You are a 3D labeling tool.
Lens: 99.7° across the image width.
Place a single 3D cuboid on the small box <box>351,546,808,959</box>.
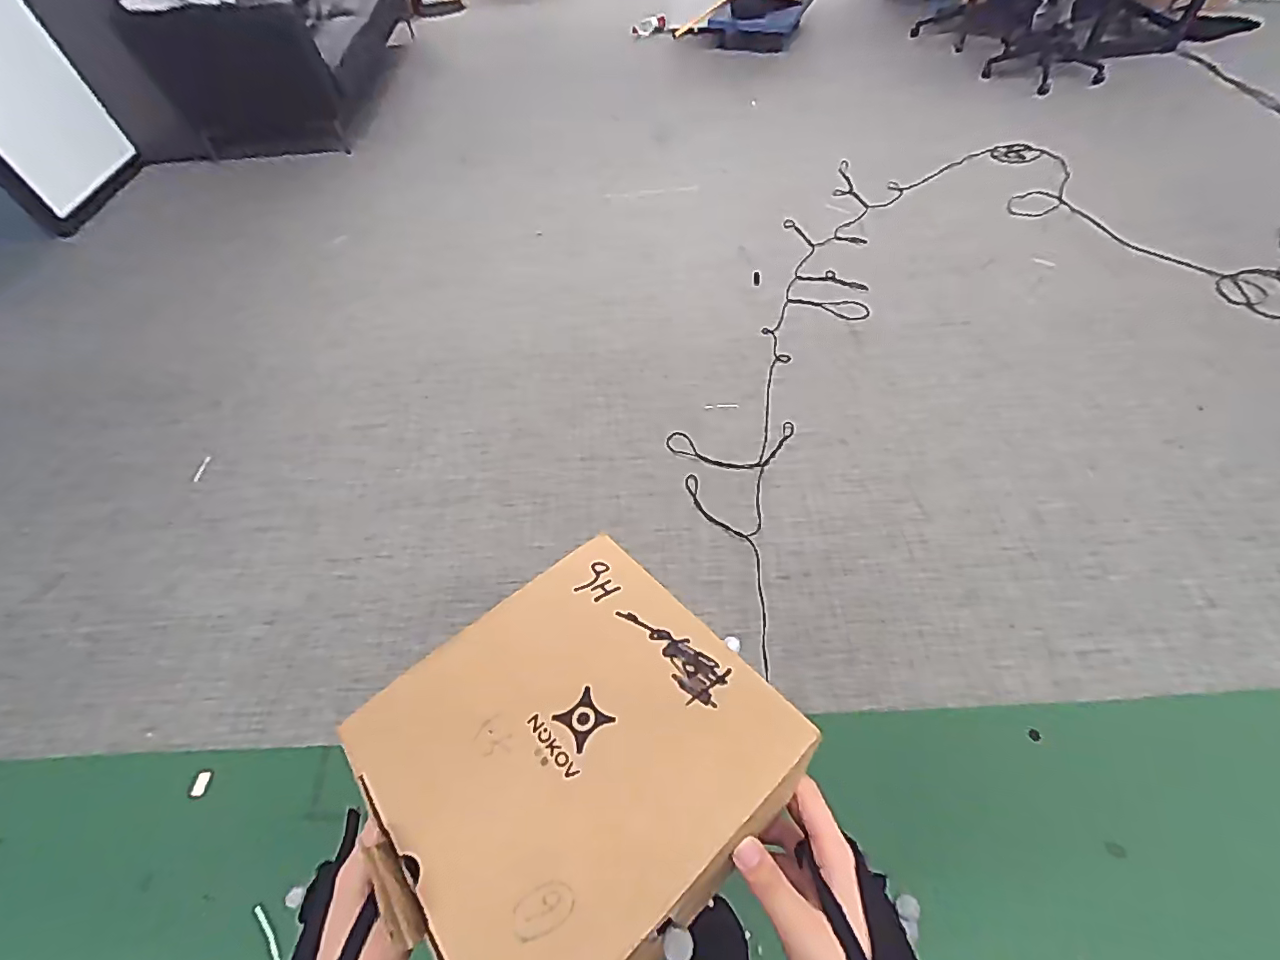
[{"bbox_3d":[-0.025,0.182,0.325,0.179,0.176,0.168,-36,53,-23],"label":"small box"}]
